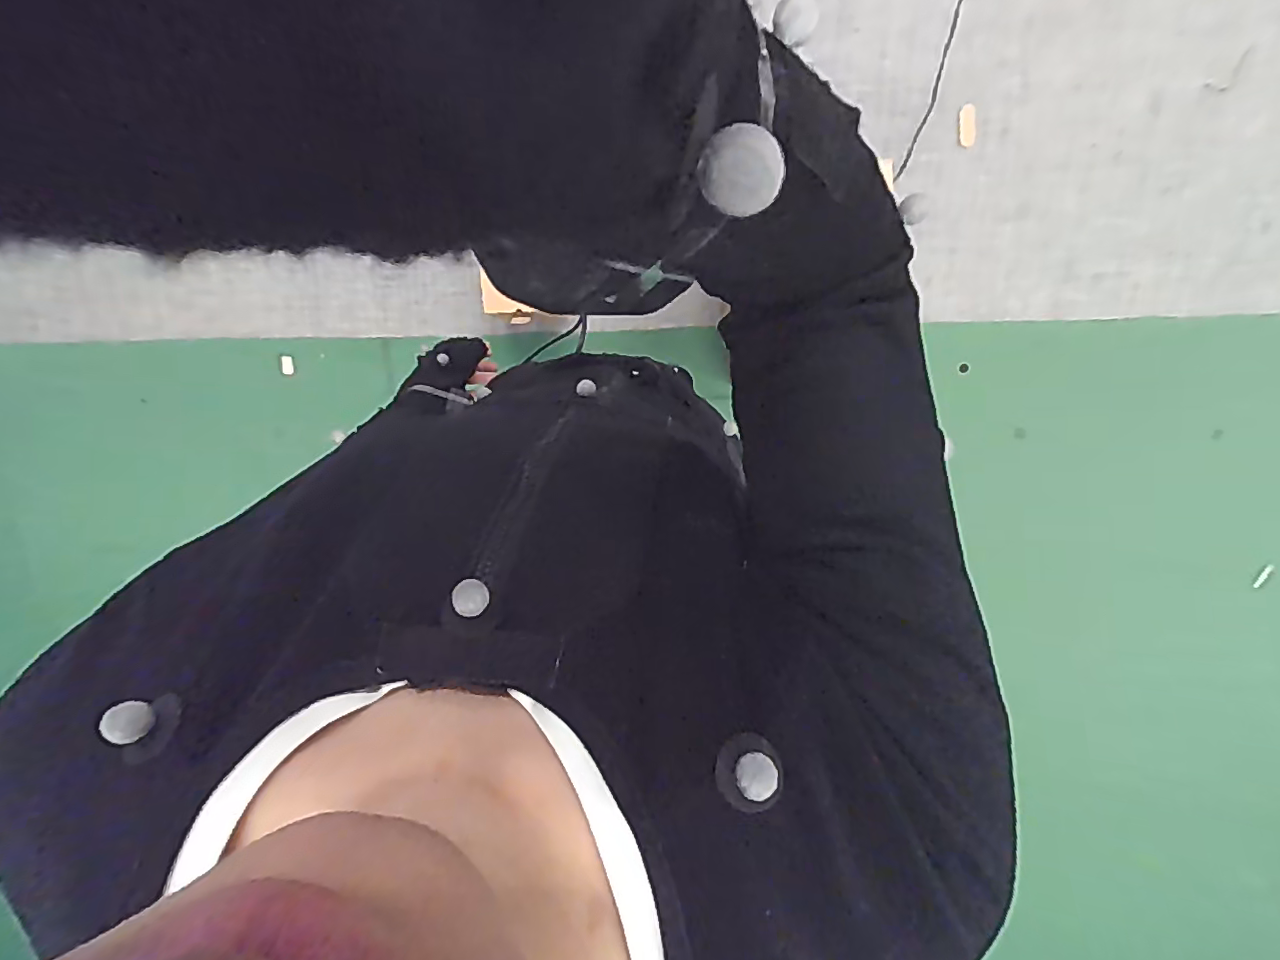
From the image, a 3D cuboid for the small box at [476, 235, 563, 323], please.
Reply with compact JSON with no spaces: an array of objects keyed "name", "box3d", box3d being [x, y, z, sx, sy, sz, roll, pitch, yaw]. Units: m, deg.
[{"name":"small box","box3d":[-0.284,-0.480,1.311,0.168,0.176,0.179,-2,103,3]}]
